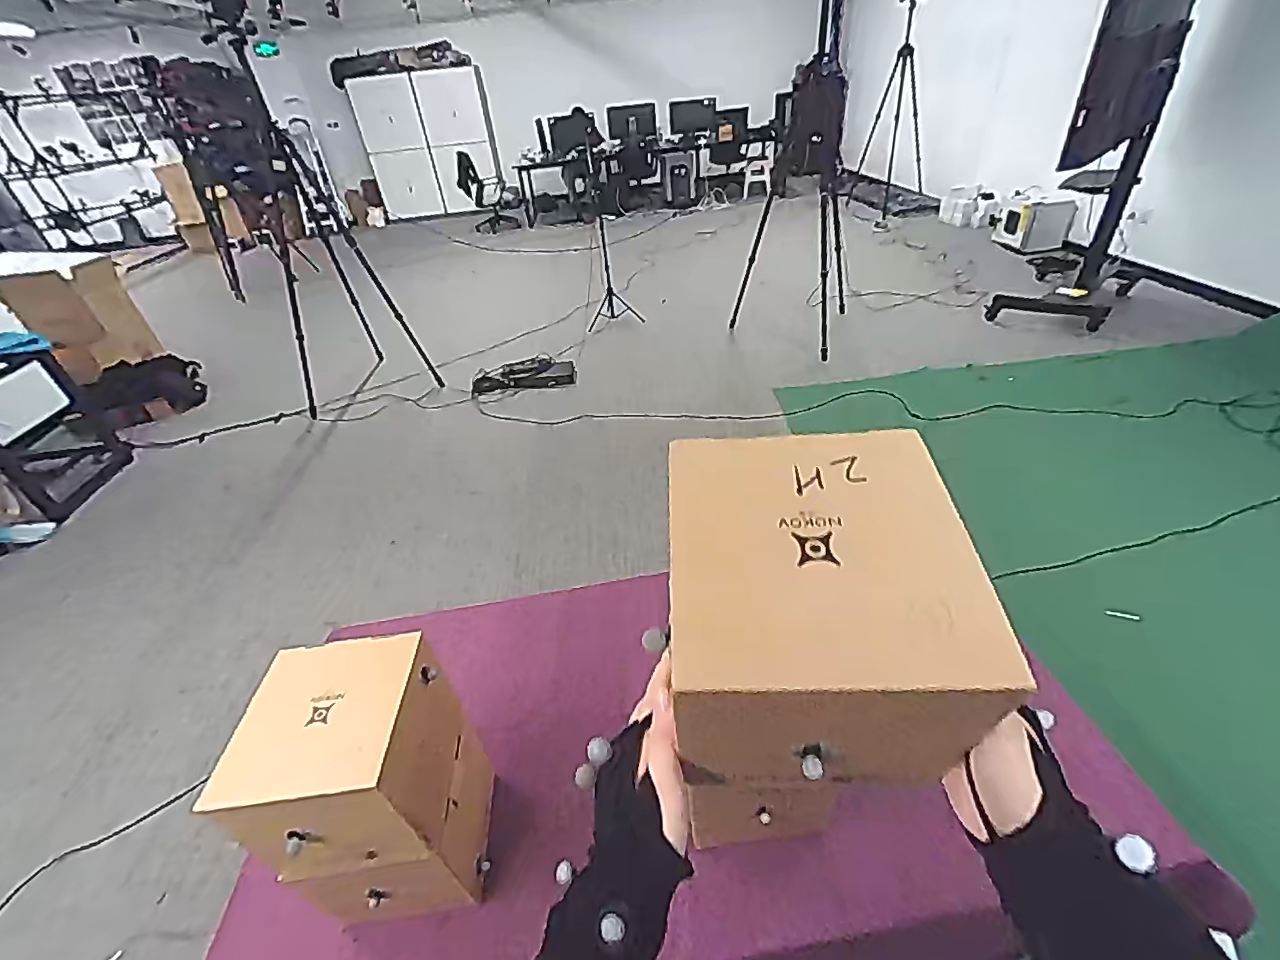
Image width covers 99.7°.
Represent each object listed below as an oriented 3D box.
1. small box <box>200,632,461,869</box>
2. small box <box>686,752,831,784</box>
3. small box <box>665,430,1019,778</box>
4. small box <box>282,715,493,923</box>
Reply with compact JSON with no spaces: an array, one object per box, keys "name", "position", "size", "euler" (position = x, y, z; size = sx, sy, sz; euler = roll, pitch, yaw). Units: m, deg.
[{"name":"small box","position":[-0.311,0.299,0.596],"size":[0.168,0.176,0.179],"euler":[-7,35,-1]},{"name":"small box","position":[0.127,0.227,0.620],"size":[0.168,0.176,0.179],"euler":[-6,37,2]},{"name":"small box","position":[0.105,0.087,0.368],"size":[0.168,0.176,0.179],"euler":[-1,47,5]},{"name":"small box","position":[-0.298,0.431,0.690],"size":[0.179,0.176,0.168],"euler":[-8,36,-2]}]
